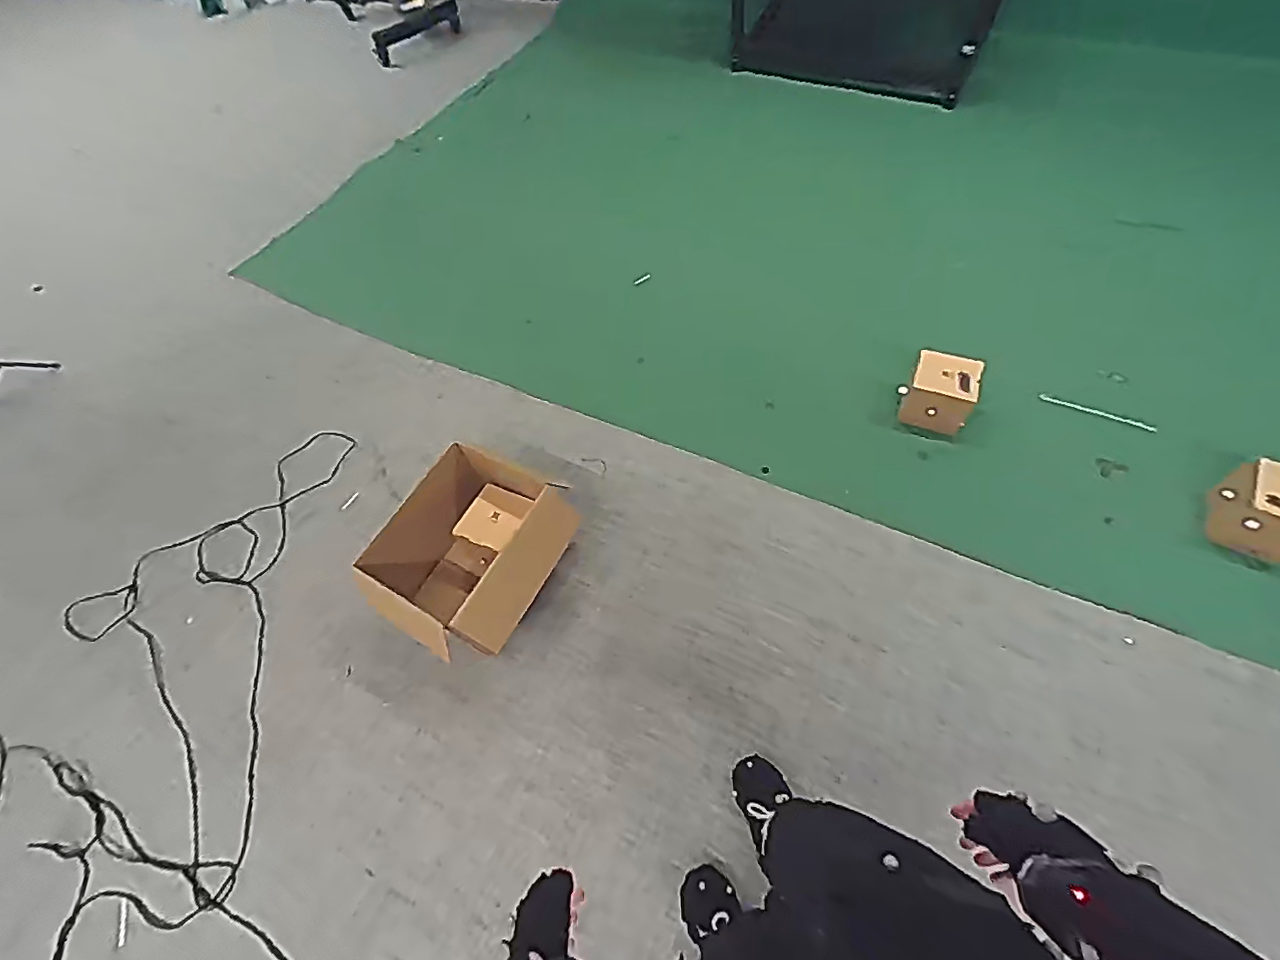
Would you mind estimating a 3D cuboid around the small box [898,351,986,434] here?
[{"bbox_3d":[0.924,-0.264,1.664,0.179,0.176,0.168,19,62,18],"label":"small box"}]
